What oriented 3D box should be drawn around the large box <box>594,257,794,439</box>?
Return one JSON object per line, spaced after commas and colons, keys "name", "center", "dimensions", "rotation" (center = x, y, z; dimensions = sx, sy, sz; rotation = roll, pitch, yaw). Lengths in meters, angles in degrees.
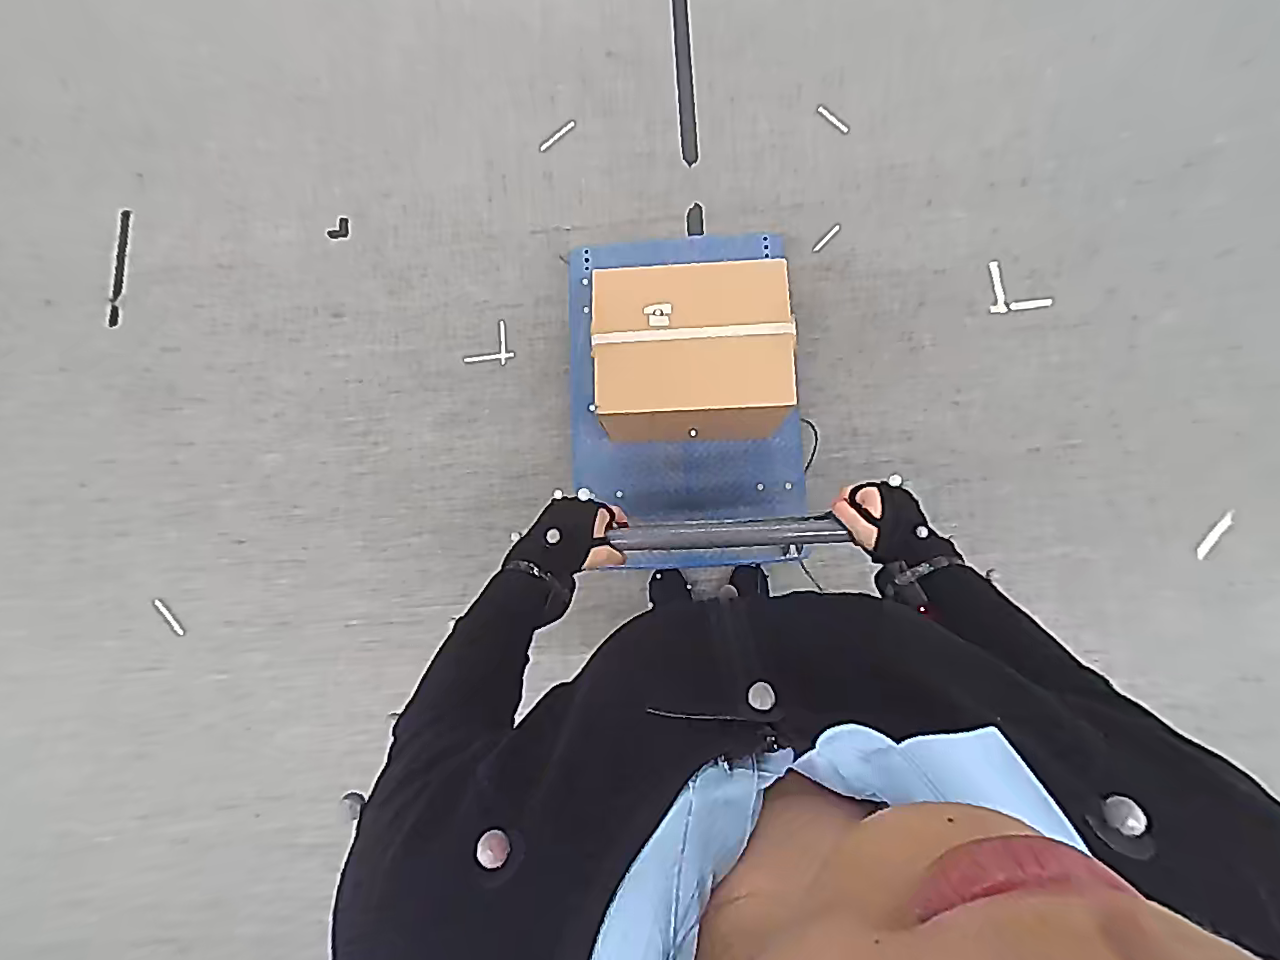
{"name": "large box", "center": [0.120, -0.283, 1.267], "dimensions": [0.408, 0.320, 0.320], "rotation": [-3, 81, 4]}
